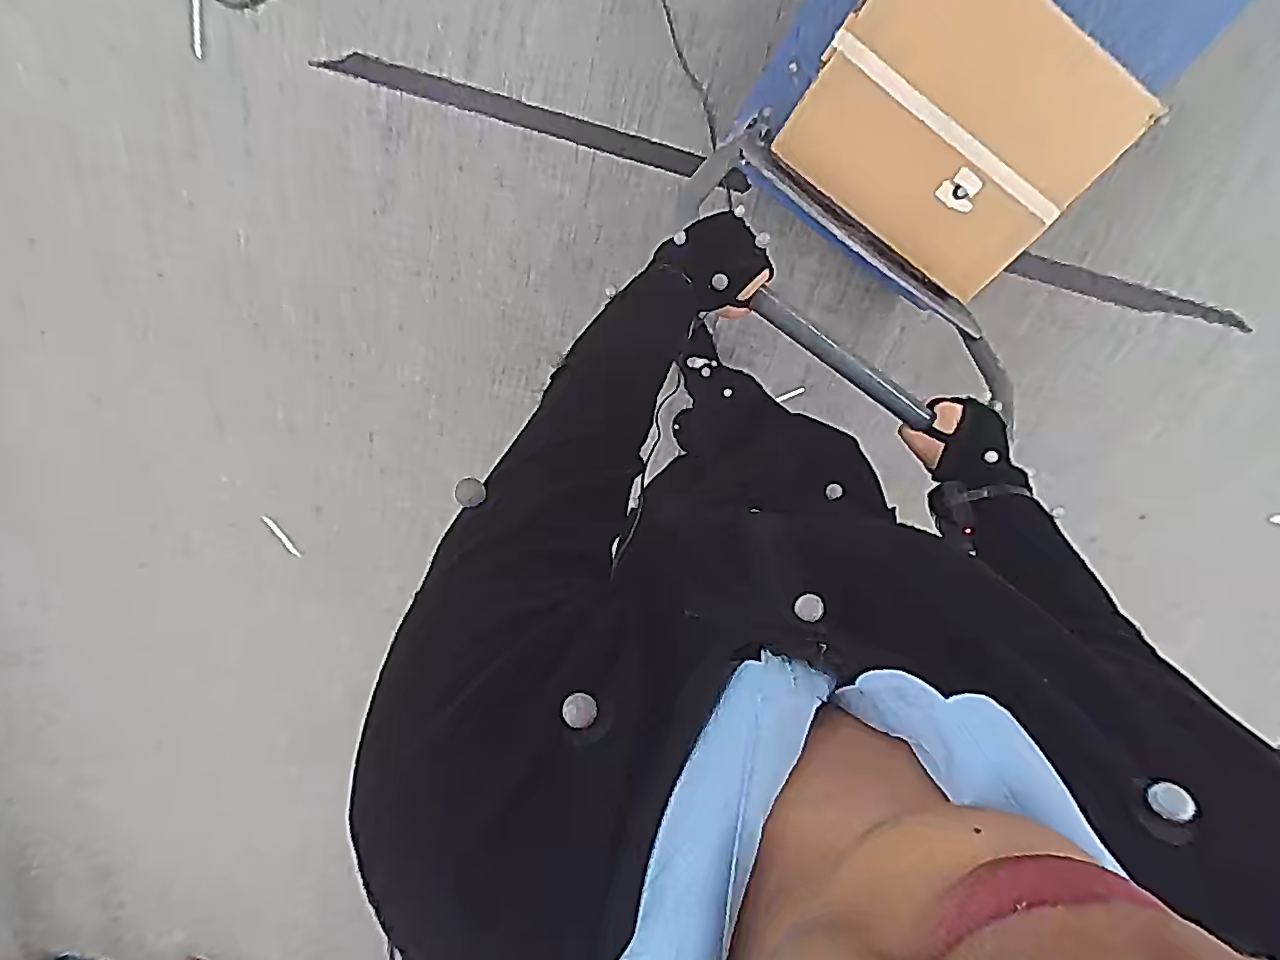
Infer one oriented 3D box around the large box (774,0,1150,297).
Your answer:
[{"bbox_3d":[0.479,-0.586,0.906,0.408,0.320,0.320,34,126,-8],"label":"large box"}]
